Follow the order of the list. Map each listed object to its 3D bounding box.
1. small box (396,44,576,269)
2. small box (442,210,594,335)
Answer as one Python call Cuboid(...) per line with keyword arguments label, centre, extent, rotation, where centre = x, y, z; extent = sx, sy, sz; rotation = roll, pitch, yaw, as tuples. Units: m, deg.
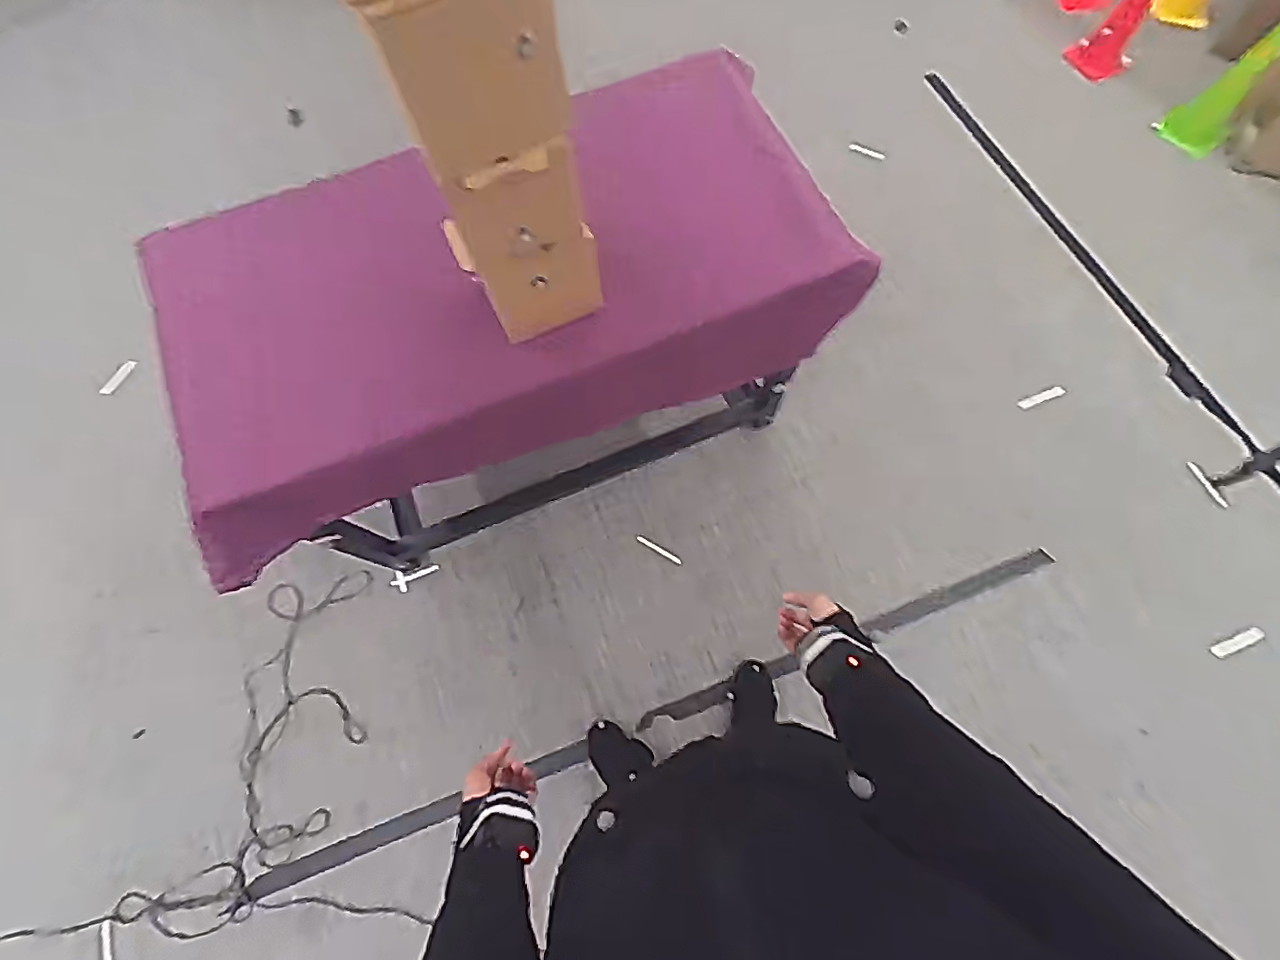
Cuboid(label="small box", centre=(-0.196, -0.423, 0.726), extent=(0.168, 0.176, 0.179), rotation=(-21, 72, -5))
Cuboid(label="small box", centre=(-0.190, -0.368, 0.881), extent=(0.179, 0.176, 0.168), rotation=(-26, 73, -7))
